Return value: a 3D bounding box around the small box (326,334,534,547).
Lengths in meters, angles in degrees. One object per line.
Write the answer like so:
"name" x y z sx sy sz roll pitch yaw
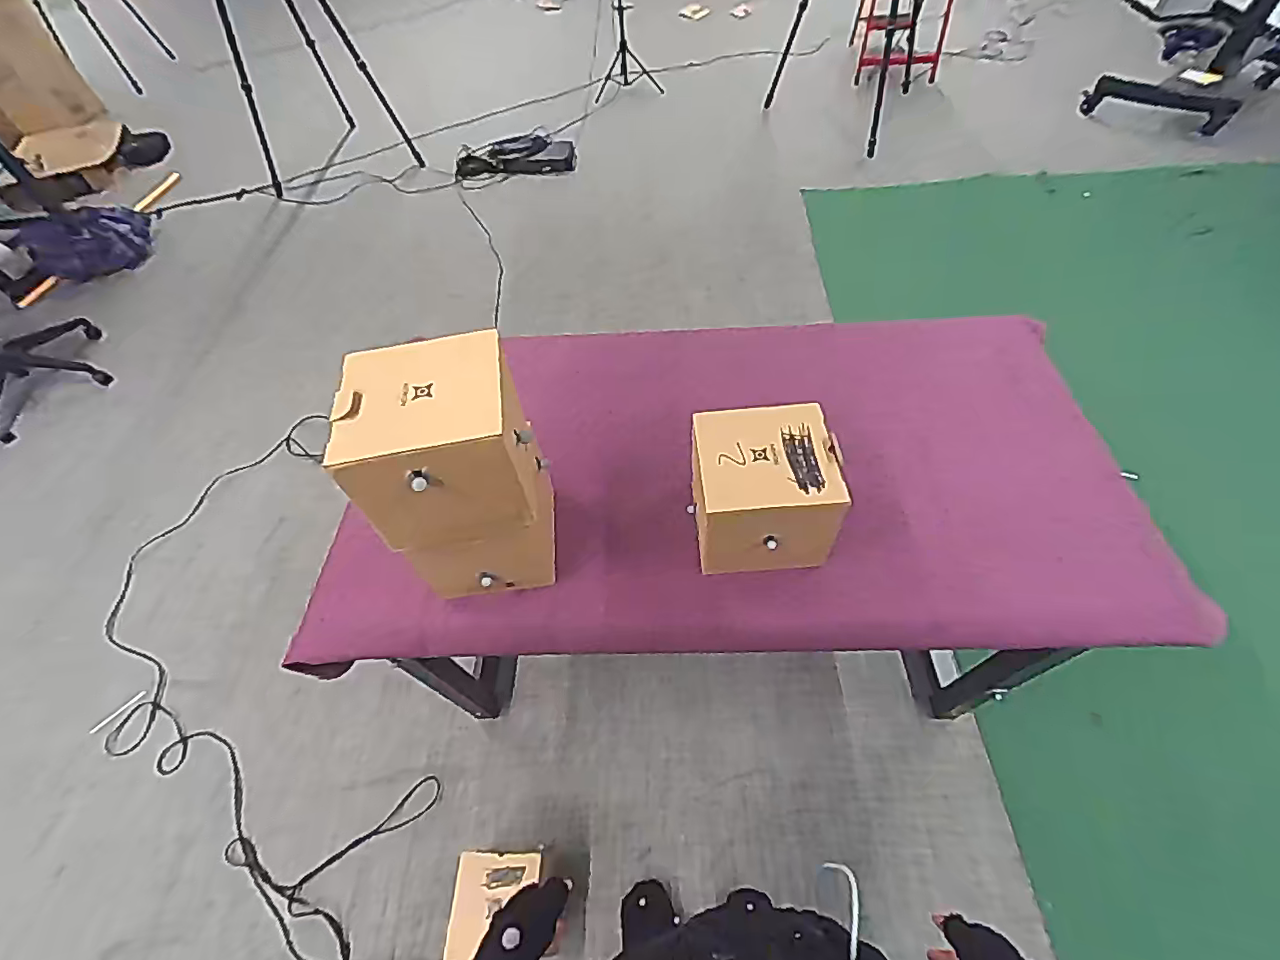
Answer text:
"small box" -0.225 -0.042 0.632 0.179 0.176 0.168 -10 54 -3

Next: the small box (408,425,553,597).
"small box" -0.221 0.046 0.770 0.168 0.176 0.179 -6 54 -1
